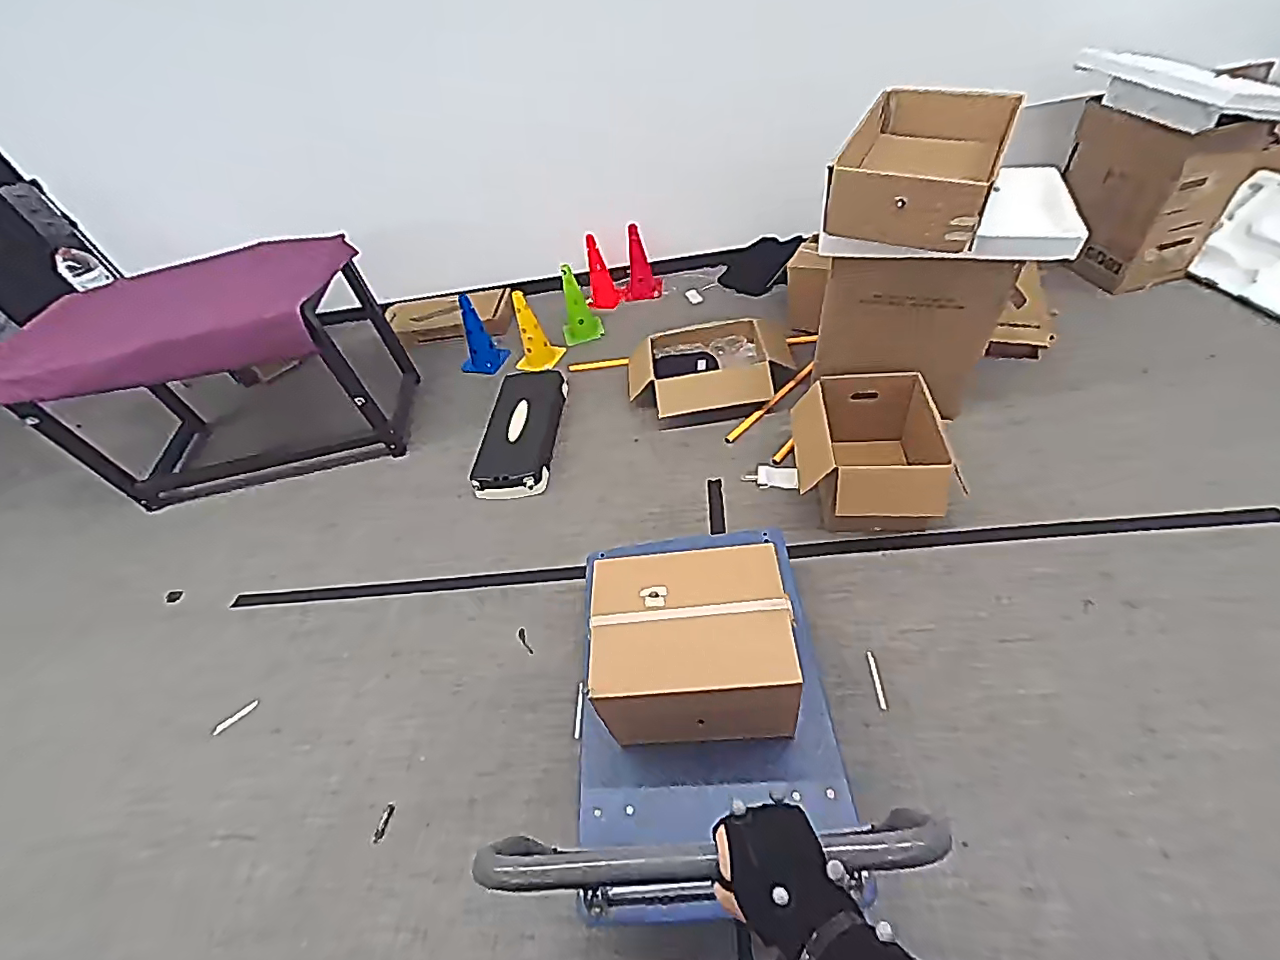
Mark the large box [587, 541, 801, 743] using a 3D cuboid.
[{"bbox_3d":[0.119,0.369,1.205,0.408,0.320,0.320,-8,47,7],"label":"large box"}]
